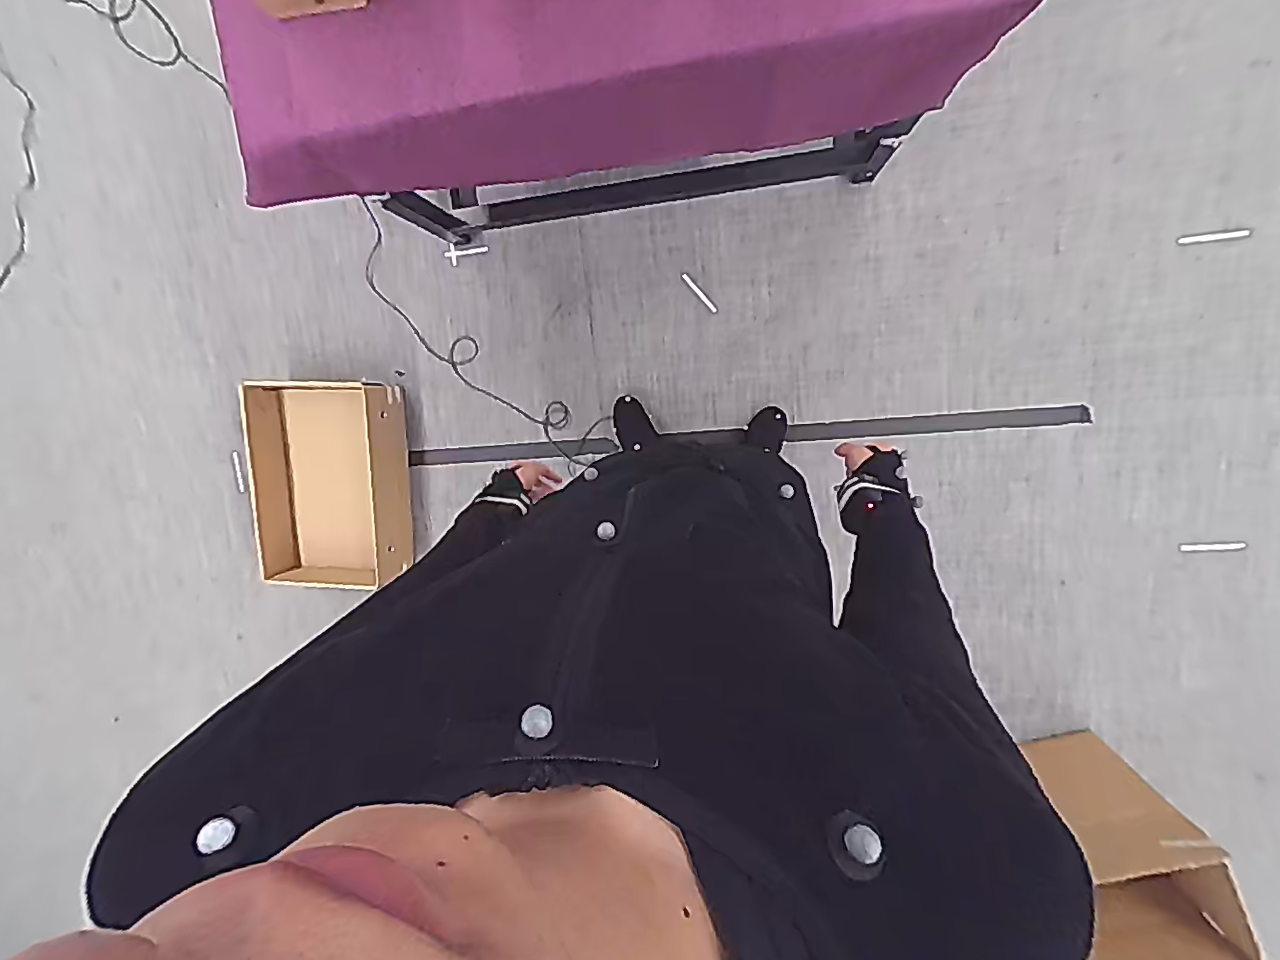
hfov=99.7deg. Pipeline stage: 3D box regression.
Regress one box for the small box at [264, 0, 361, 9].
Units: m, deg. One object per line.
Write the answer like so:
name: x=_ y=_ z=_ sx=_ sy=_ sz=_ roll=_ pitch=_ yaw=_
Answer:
small box: x=-0.506 y=-0.795 z=0.742 sx=0.168 sy=0.176 sz=0.179 roll=0 pitch=99 yaw=7
